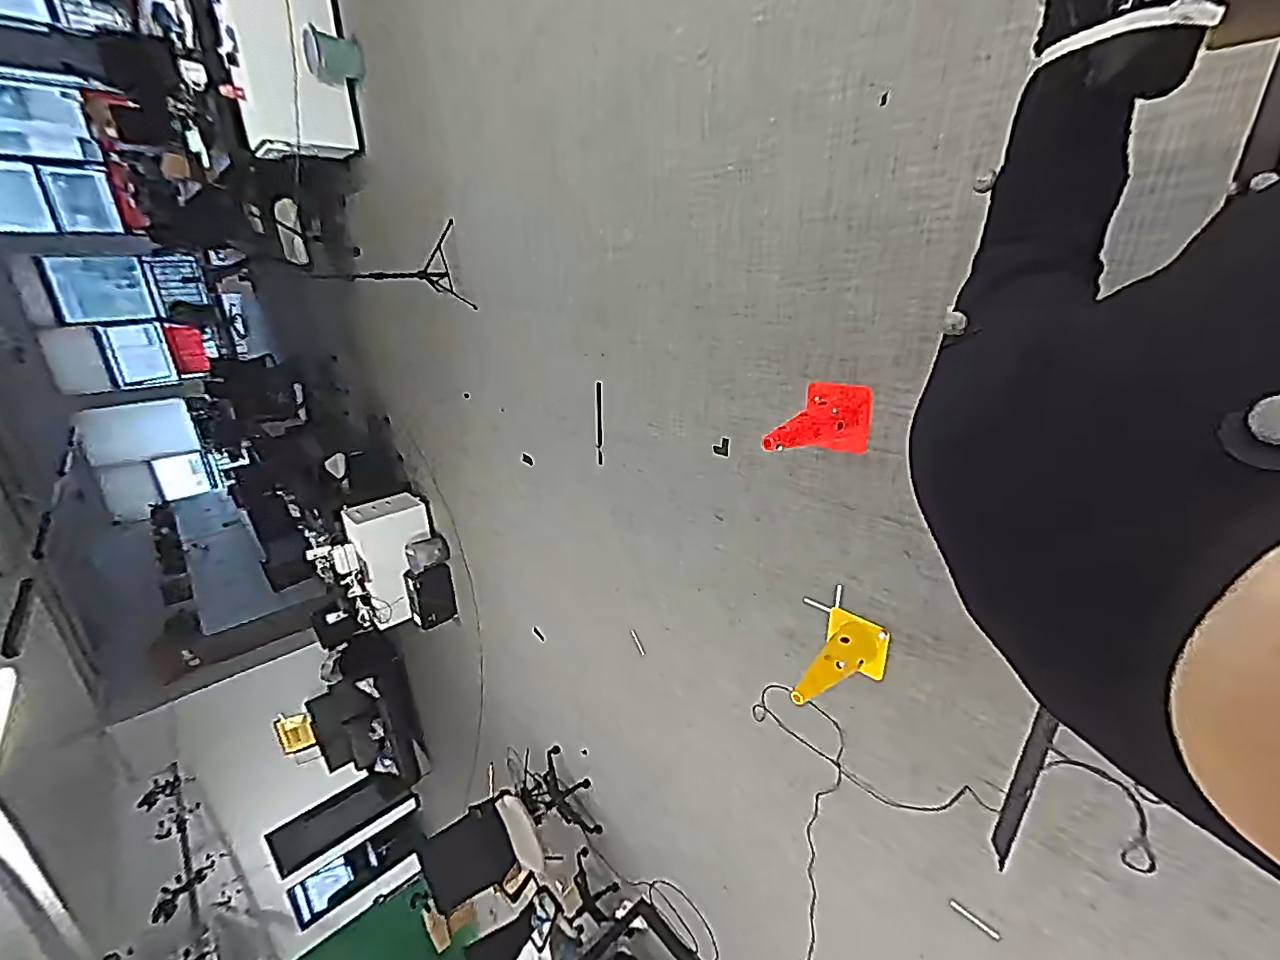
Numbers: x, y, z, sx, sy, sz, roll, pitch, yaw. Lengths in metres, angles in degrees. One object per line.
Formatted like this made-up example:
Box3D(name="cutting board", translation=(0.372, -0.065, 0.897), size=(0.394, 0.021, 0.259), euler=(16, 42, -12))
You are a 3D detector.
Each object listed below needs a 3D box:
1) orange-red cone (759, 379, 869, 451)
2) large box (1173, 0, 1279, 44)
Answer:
Box3D(name="orange-red cone", translation=(0.457, -0.146, 1.510), size=(0.198, 0.360, 0.199), euler=(20, 121, 45))
Box3D(name="large box", translation=(0.554, -0.456, 0.236), size=(0.408, 0.320, 0.320), euler=(19, 126, 43))
